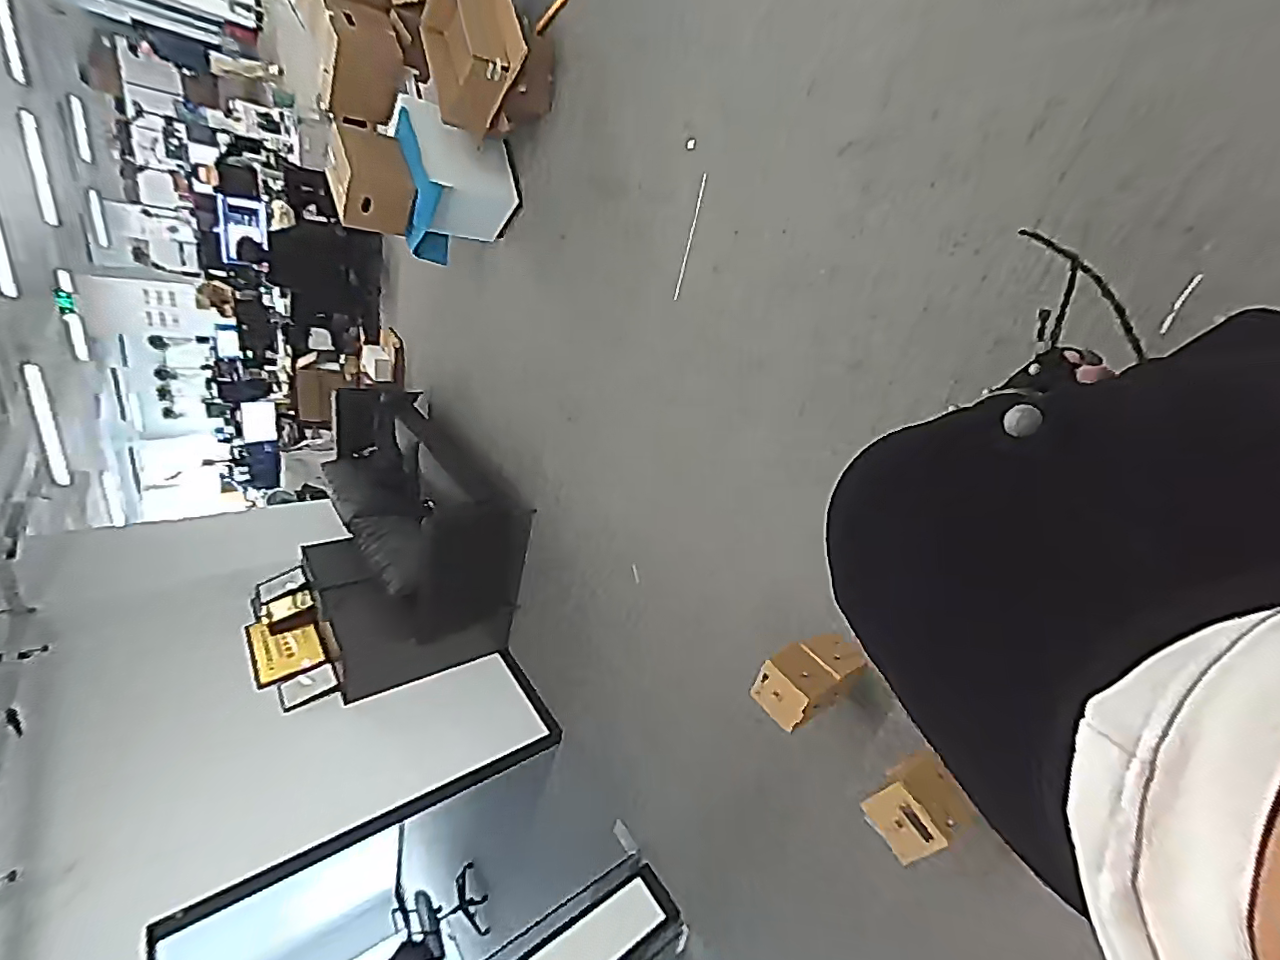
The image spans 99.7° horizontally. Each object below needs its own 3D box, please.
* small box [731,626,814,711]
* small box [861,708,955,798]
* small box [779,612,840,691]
[{"bbox_3d":[0.439,0.613,1.783,0.179,0.176,0.168,41,127,35],"label":"small box"},{"bbox_3d":[0.818,0.822,1.637,0.168,0.176,0.179,57,136,24],"label":"small box"},{"bbox_3d":[0.567,0.589,1.884,0.168,0.176,0.179,40,126,37],"label":"small box"}]
